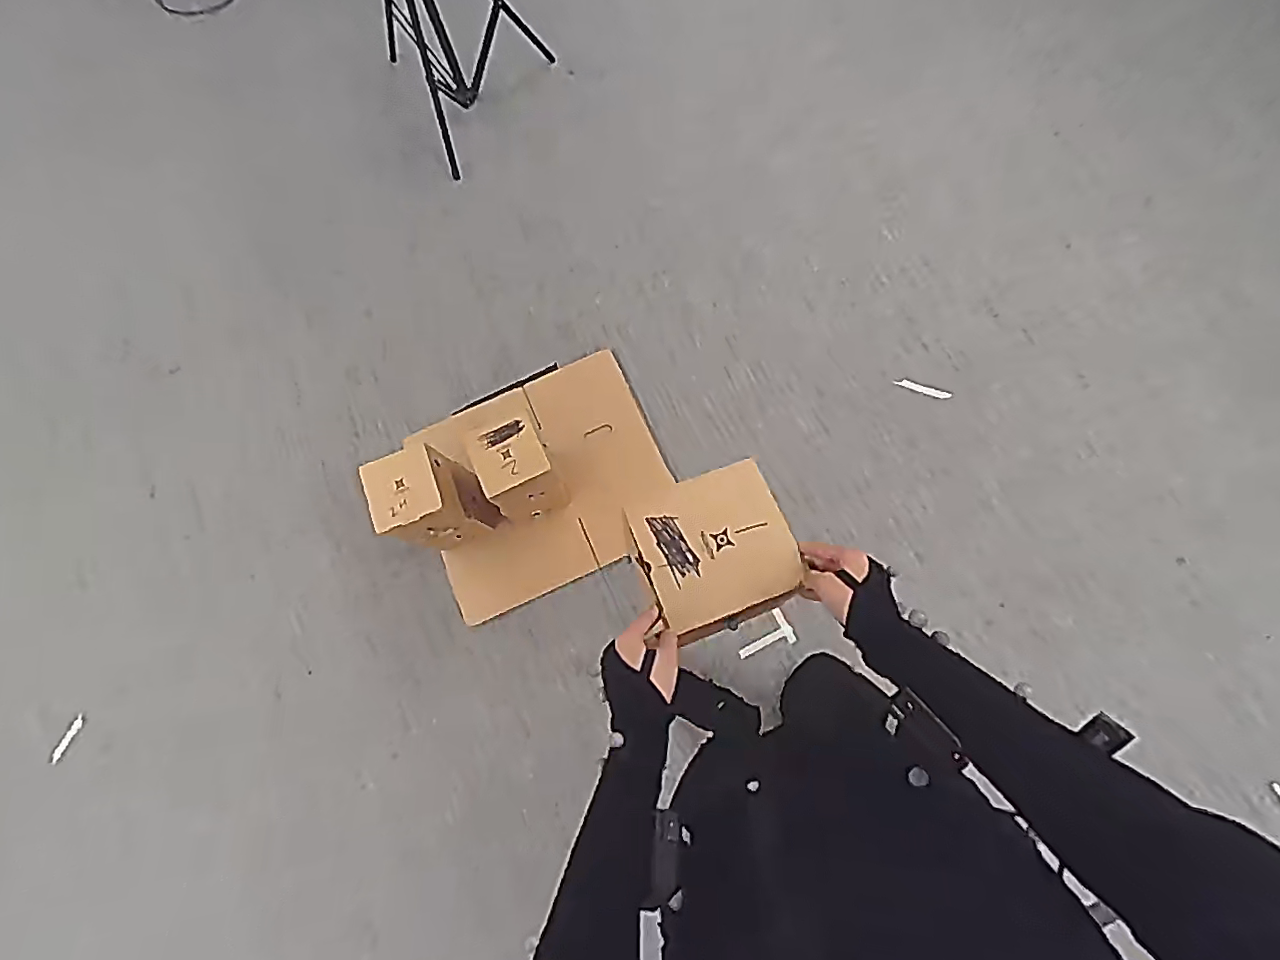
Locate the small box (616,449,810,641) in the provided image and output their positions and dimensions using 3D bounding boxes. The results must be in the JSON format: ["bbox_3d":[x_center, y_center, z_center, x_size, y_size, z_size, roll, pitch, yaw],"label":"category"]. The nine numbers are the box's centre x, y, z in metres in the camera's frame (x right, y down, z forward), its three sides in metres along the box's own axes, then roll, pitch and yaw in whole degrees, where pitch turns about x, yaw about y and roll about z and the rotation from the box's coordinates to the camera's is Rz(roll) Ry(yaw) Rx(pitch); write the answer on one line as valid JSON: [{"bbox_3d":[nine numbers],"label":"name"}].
[{"bbox_3d":[0.081,0.091,0.683,0.179,0.176,0.168,-20,69,-8],"label":"small box"}]

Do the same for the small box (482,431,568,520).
[{"bbox_3d":[-0.312,-0.006,1.488,0.168,0.176,0.179,-21,76,-2],"label":"small box"}]

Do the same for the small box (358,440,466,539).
[{"bbox_3d":[-0.550,0.031,1.322,0.168,0.176,0.179,-22,77,-1],"label":"small box"}]

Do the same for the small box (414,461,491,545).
[{"bbox_3d":[-0.528,0.071,1.481,0.168,0.176,0.179,-23,77,-2],"label":"small box"}]
